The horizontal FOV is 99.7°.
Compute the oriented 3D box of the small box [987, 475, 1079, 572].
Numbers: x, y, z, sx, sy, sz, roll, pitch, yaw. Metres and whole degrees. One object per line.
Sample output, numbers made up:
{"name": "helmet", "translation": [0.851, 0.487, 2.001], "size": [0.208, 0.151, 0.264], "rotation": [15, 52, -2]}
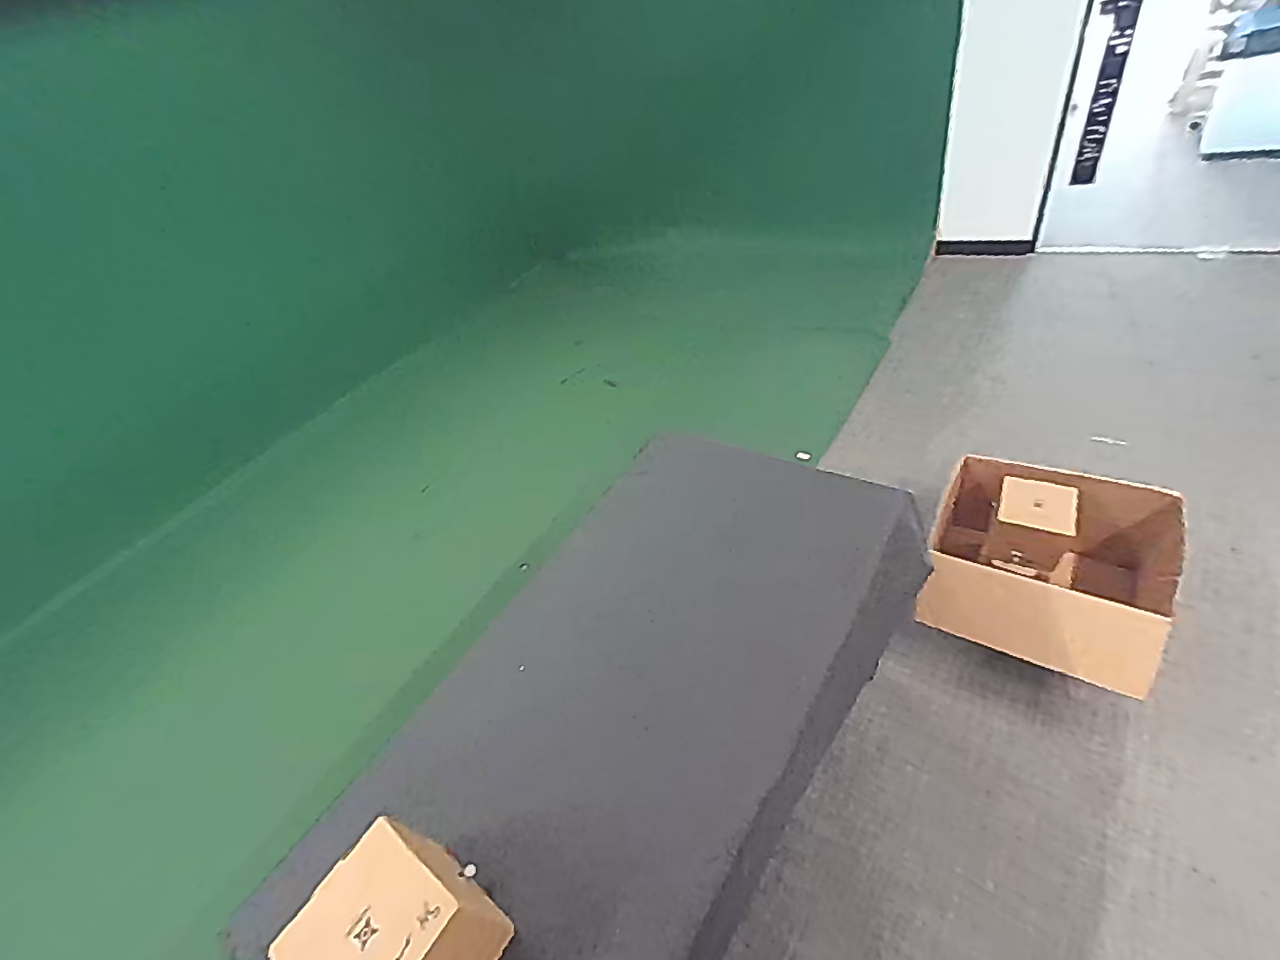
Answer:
{"name": "small box", "translation": [1.064, 0.118, 1.470], "size": [0.168, 0.176, 0.179], "rotation": [14, 52, 29]}

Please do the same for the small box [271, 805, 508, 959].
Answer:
{"name": "small box", "translation": [-0.302, 0.560, 0.677], "size": [0.179, 0.176, 0.168], "rotation": [18, 52, 35]}
